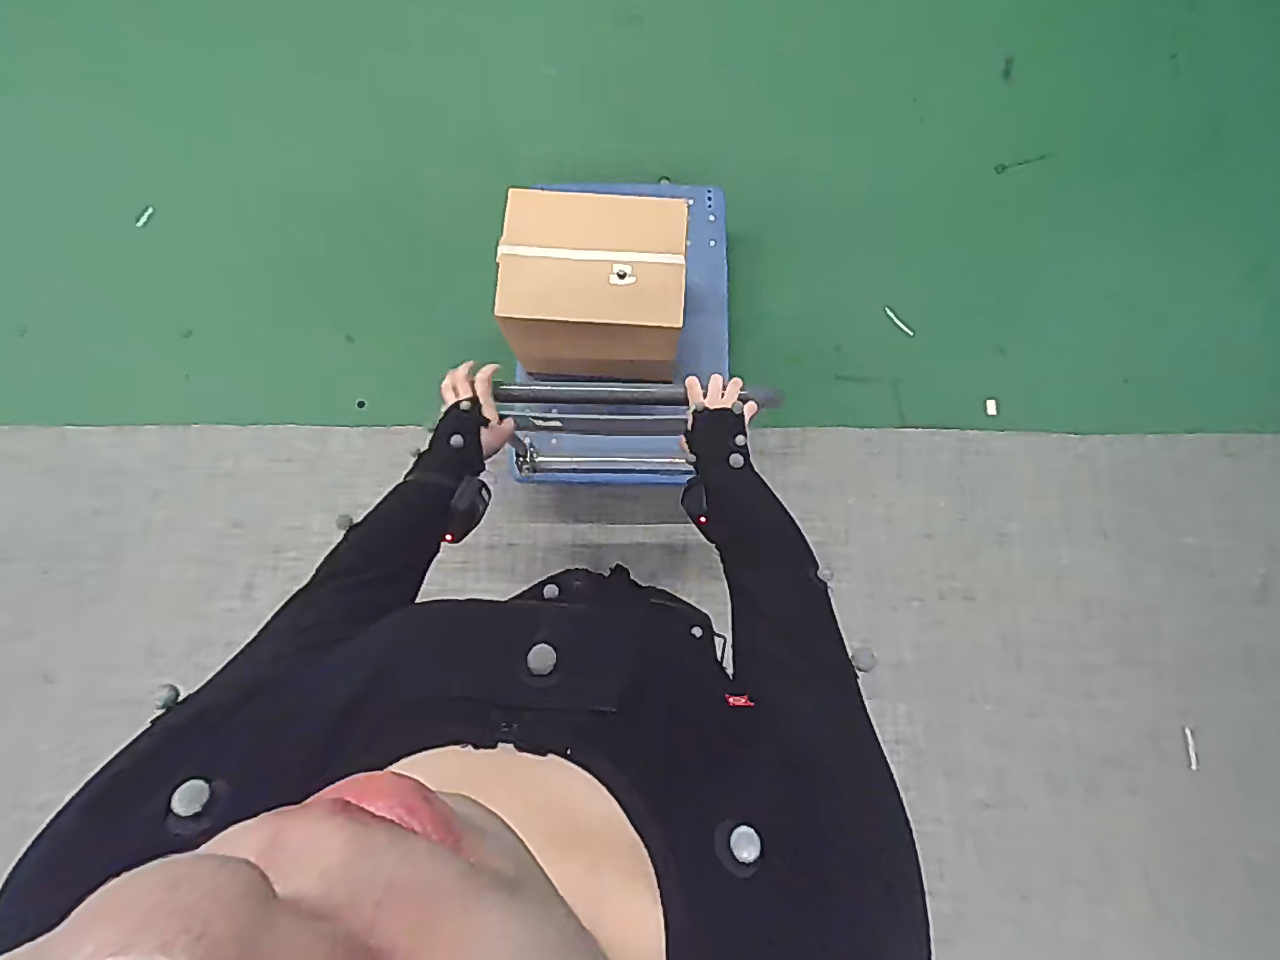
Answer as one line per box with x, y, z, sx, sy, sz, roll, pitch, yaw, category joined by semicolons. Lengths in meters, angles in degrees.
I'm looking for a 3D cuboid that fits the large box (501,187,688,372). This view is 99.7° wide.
-0.101;-0.473;1.335;0.408;0.320;0.320;3;79;-1;large box
